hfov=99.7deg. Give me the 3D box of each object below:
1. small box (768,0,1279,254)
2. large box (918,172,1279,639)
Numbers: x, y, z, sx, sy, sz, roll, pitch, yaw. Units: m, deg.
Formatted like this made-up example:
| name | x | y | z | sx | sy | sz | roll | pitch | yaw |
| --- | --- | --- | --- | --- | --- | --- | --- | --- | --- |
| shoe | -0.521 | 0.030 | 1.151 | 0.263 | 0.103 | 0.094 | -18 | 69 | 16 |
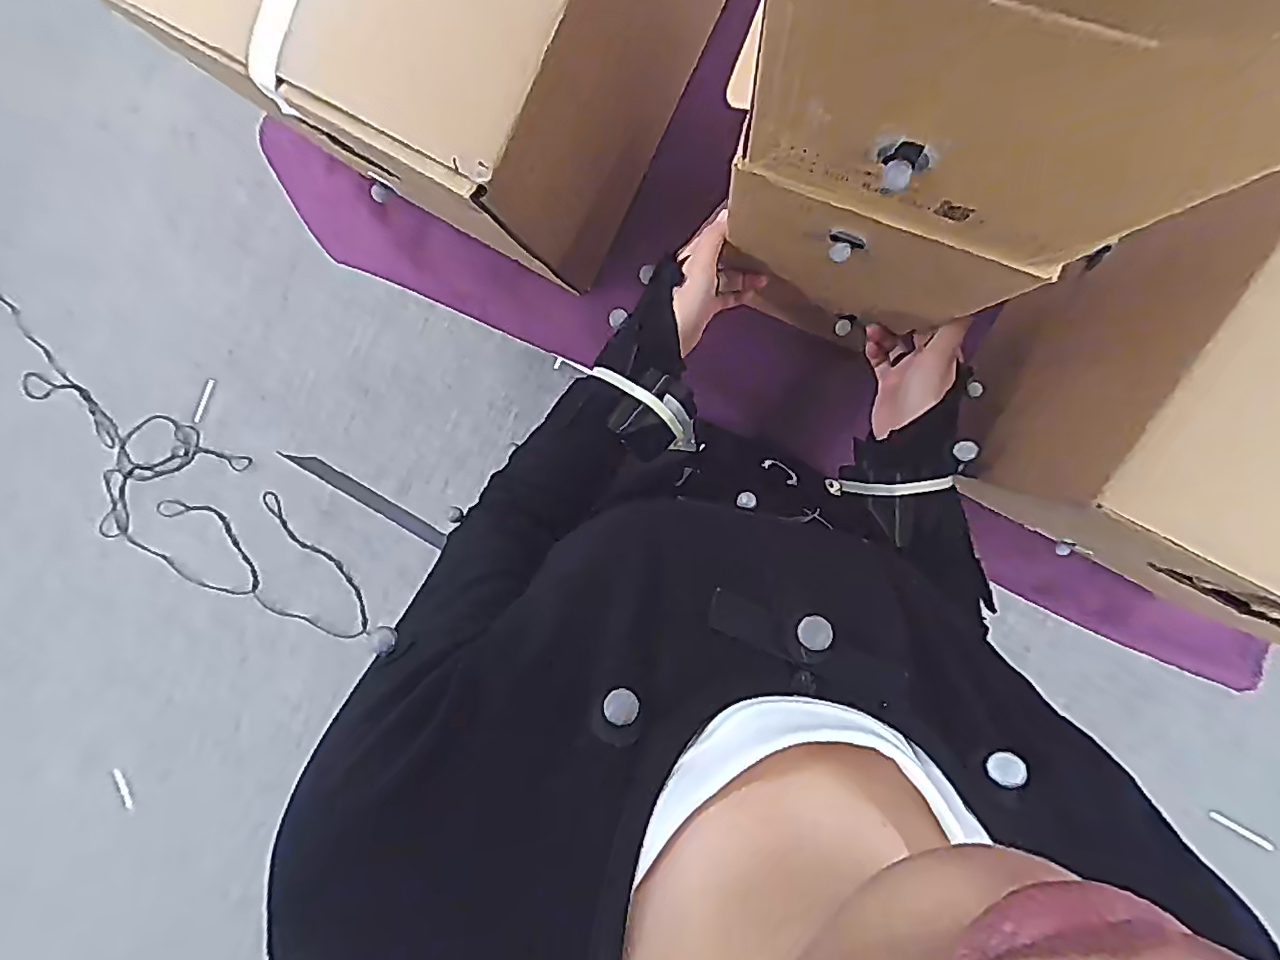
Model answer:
| name | x | y | z | sx | sy | sz | roll | pitch | yaw |
| --- | --- | --- | --- | --- | --- | --- | --- | --- | --- |
| small box | 0.152 | -0.203 | 0.175 | 0.168 | 0.176 | 0.179 | 21 | 100 | 4 |
| large box | 0.496 | -0.102 | 0.404 | 0.320 | 0.320 | 0.408 | 28 | 99 | 3 |
